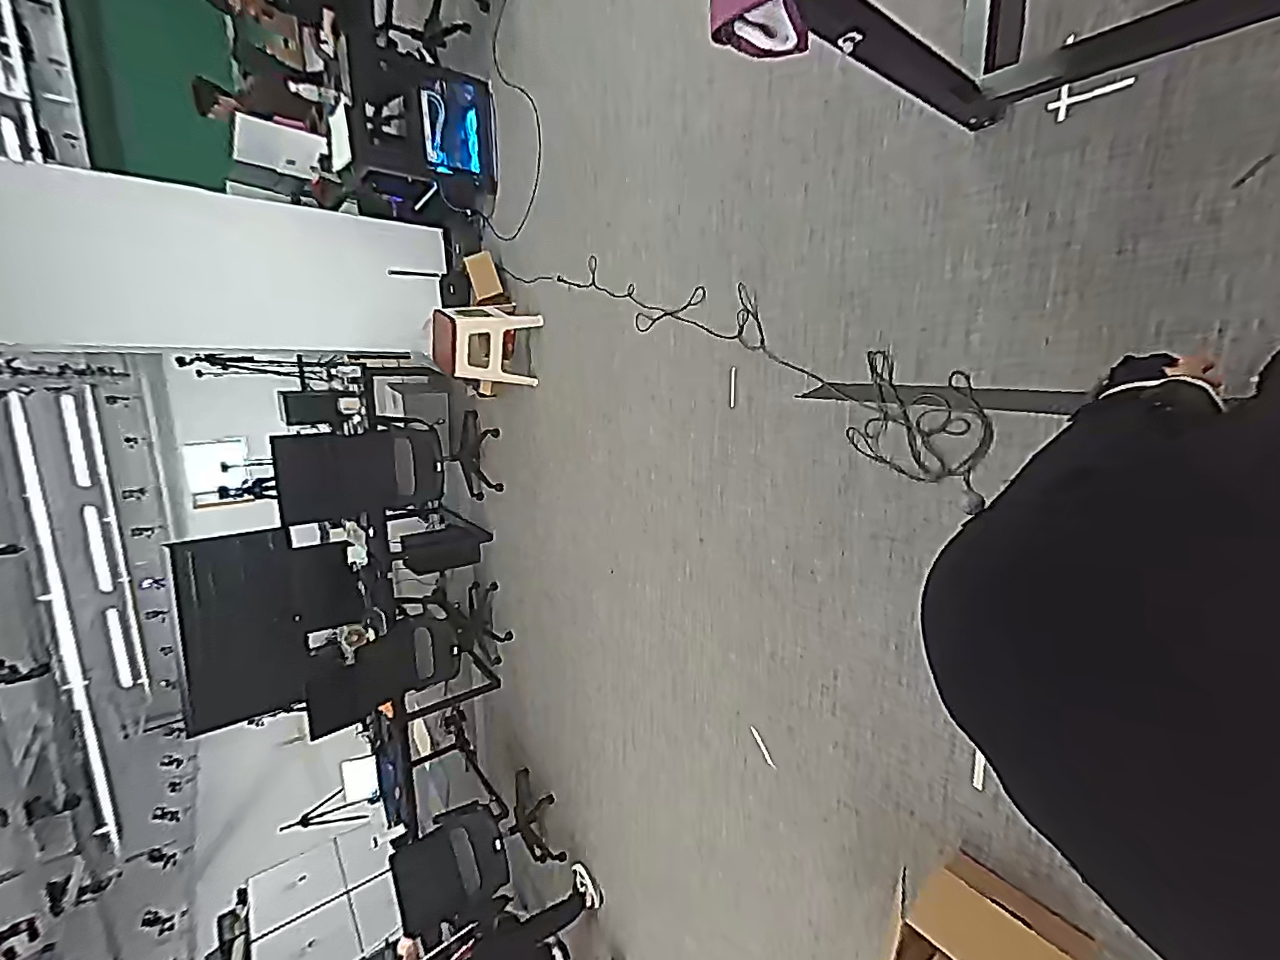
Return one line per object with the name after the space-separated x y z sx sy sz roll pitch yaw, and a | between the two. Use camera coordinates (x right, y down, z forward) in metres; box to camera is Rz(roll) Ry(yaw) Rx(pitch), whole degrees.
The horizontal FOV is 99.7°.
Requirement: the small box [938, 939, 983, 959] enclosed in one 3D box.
0.746 1.215 1.231 0.168 0.176 0.179 27 120 51 | small box
